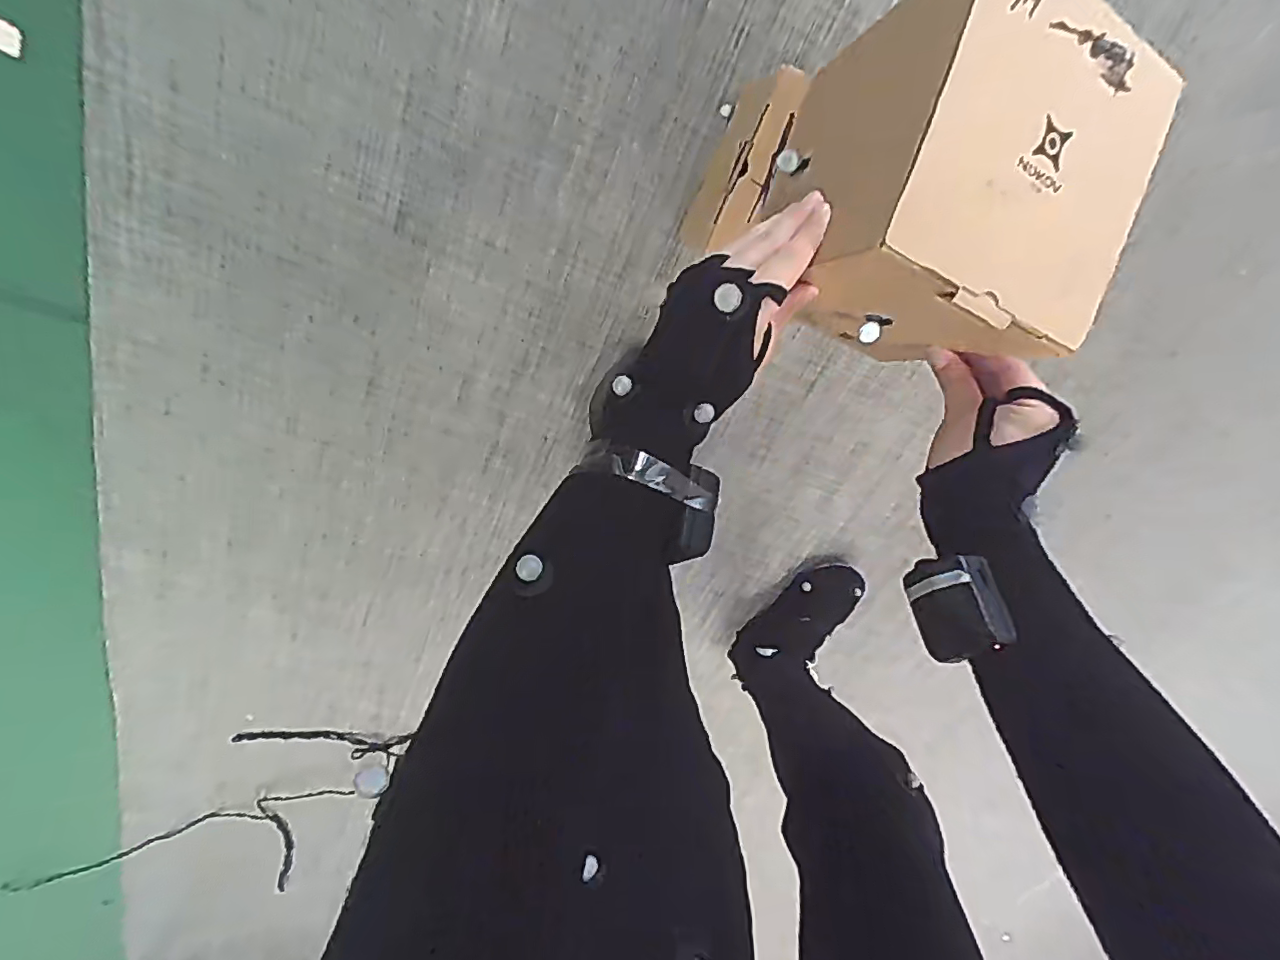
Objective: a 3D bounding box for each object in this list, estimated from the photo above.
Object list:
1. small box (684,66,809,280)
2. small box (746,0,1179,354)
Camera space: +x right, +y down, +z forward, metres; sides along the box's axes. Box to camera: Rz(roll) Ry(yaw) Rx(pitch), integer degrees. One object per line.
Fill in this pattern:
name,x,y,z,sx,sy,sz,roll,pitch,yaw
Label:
small box,0.162,-0.296,0.577,0.179,0.176,0.168,17,118,-15
small box,0.198,-0.198,0.379,0.168,0.176,0.179,17,96,-21
